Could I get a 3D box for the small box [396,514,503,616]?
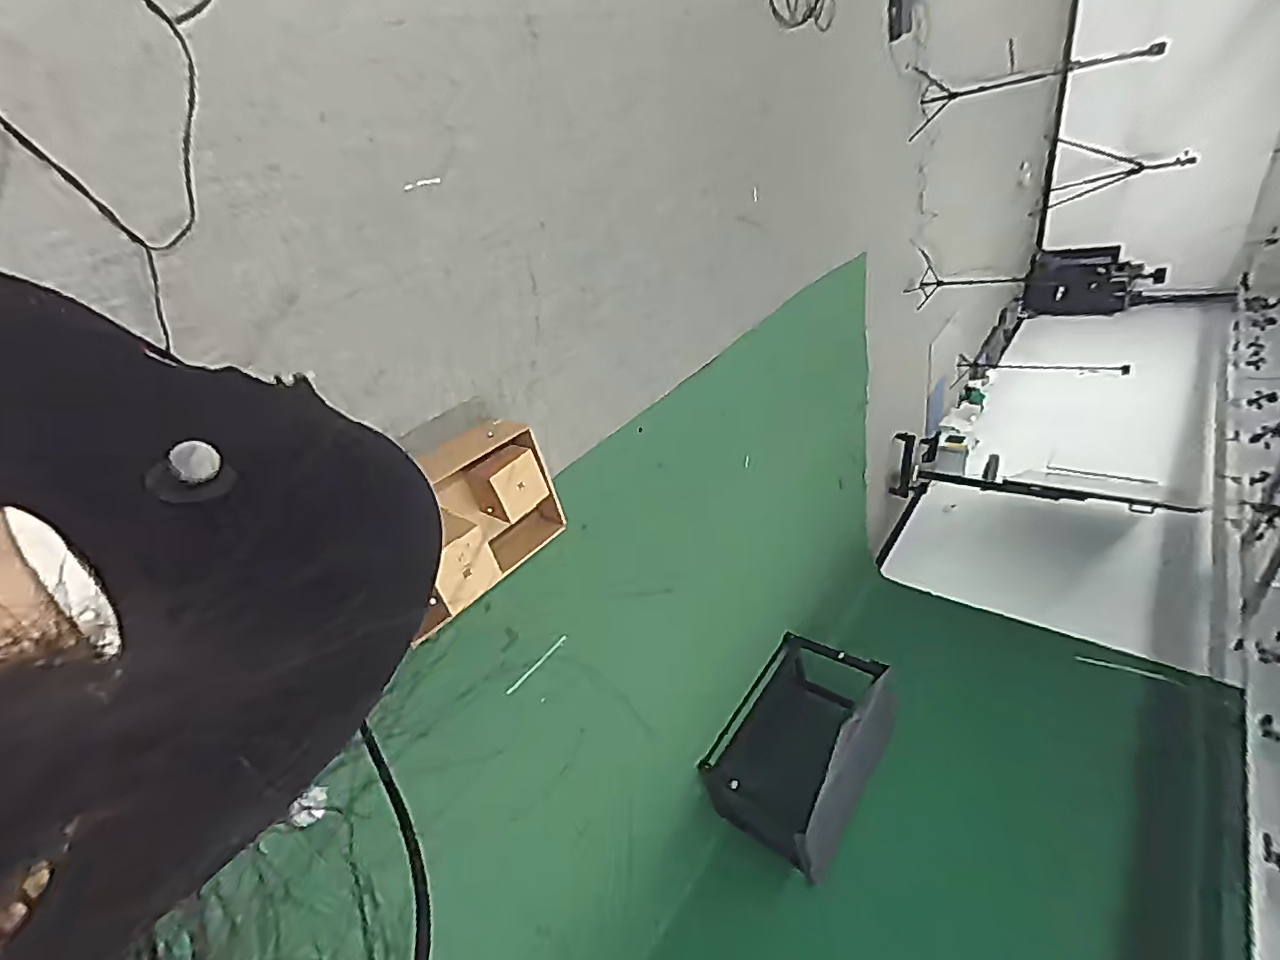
[{"bbox_3d":[-0.491,0.212,1.396,0.168,0.176,0.179,-40,128,-36],"label":"small box"}]
